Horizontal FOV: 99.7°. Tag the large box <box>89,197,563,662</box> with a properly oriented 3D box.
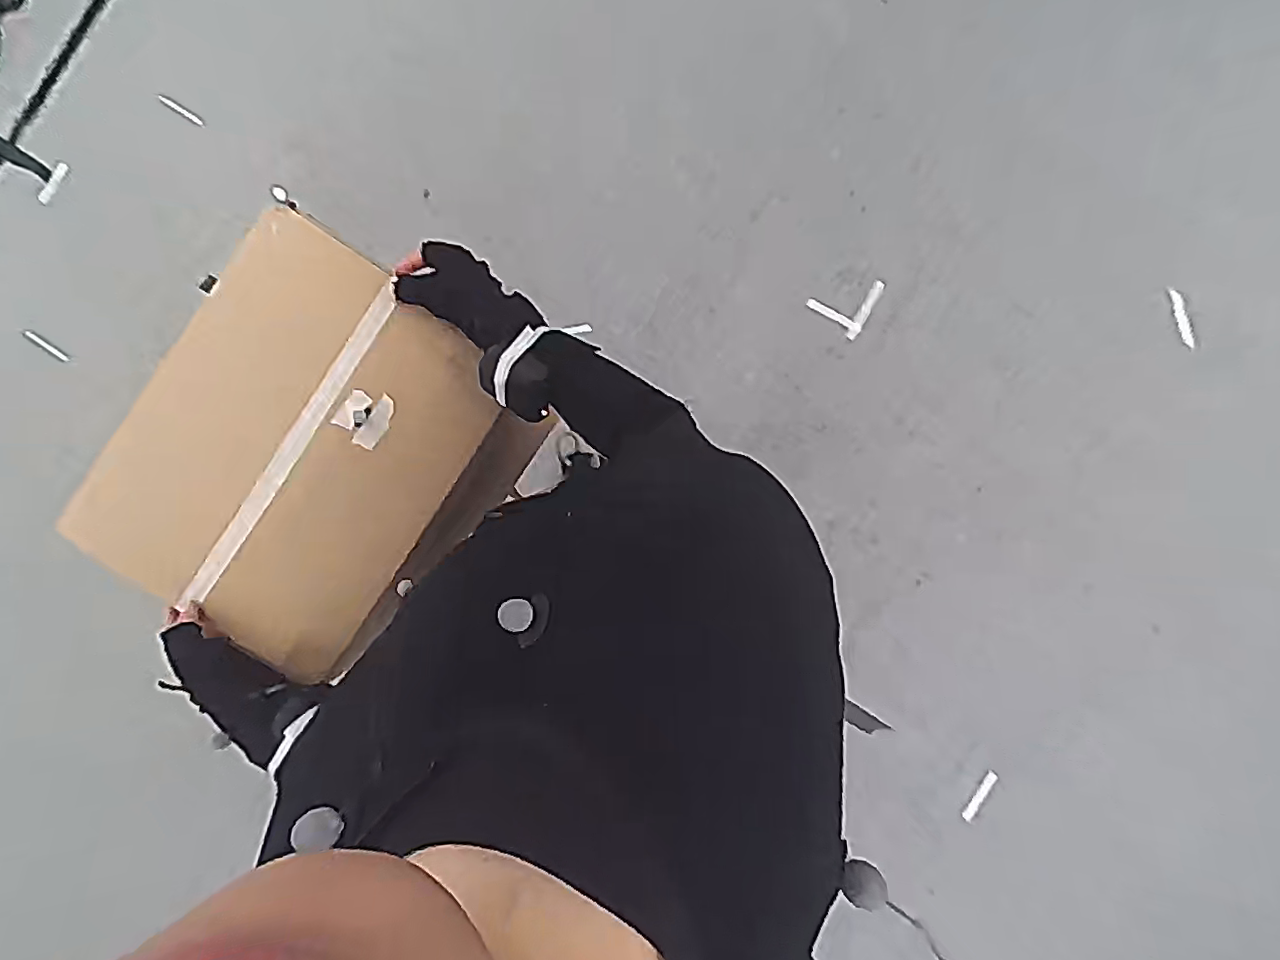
[{"bbox_3d":[-0.352,-0.052,0.718,0.320,0.320,0.408,34,90,-2],"label":"large box"}]
